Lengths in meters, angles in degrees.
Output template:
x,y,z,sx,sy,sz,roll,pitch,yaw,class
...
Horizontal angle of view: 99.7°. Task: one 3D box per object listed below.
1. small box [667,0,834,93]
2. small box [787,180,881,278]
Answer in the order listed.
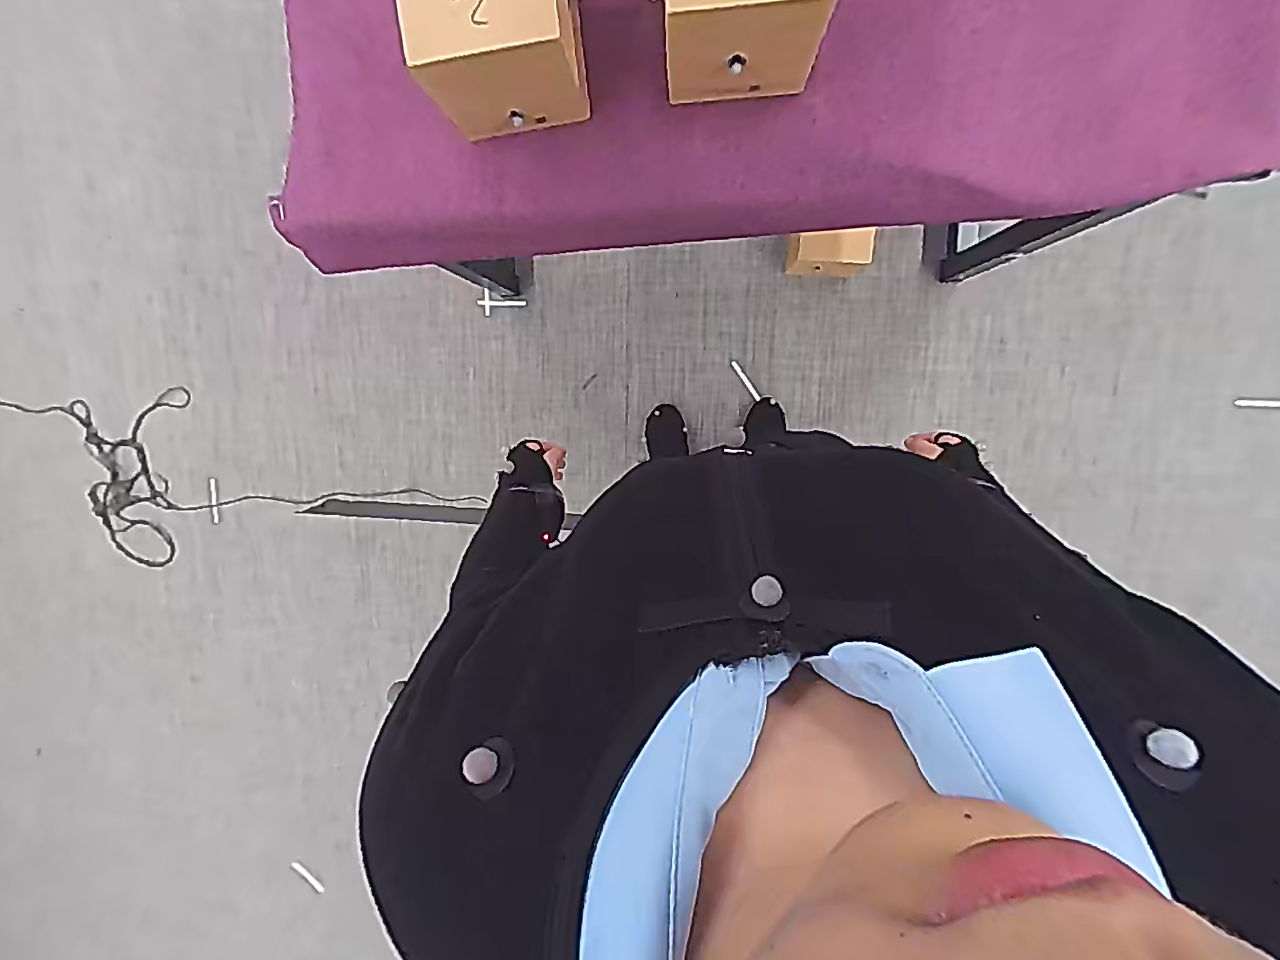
x,y,z,sx,sy,sz,roll,pitch,yaw,class
0.114,-0.554,0.588,0.168,0.176,0.179,-1,98,4,small box
0.455,-0.593,1.295,0.168,0.176,0.179,5,99,5,small box
